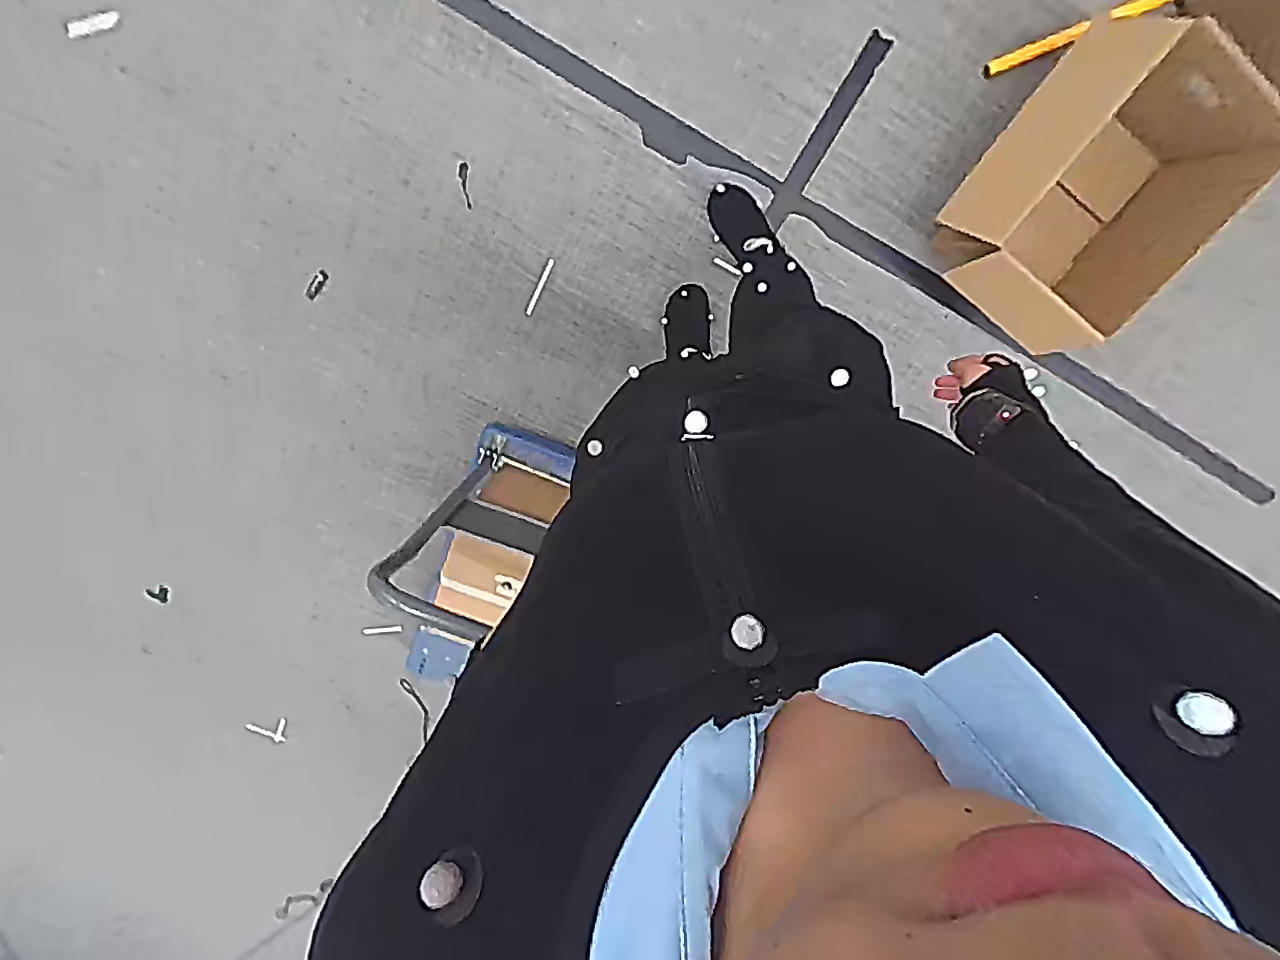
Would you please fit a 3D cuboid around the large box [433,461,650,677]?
[{"bbox_3d":[-0.220,0.204,1.315,0.408,0.320,0.320,22,113,-6],"label":"large box"}]
